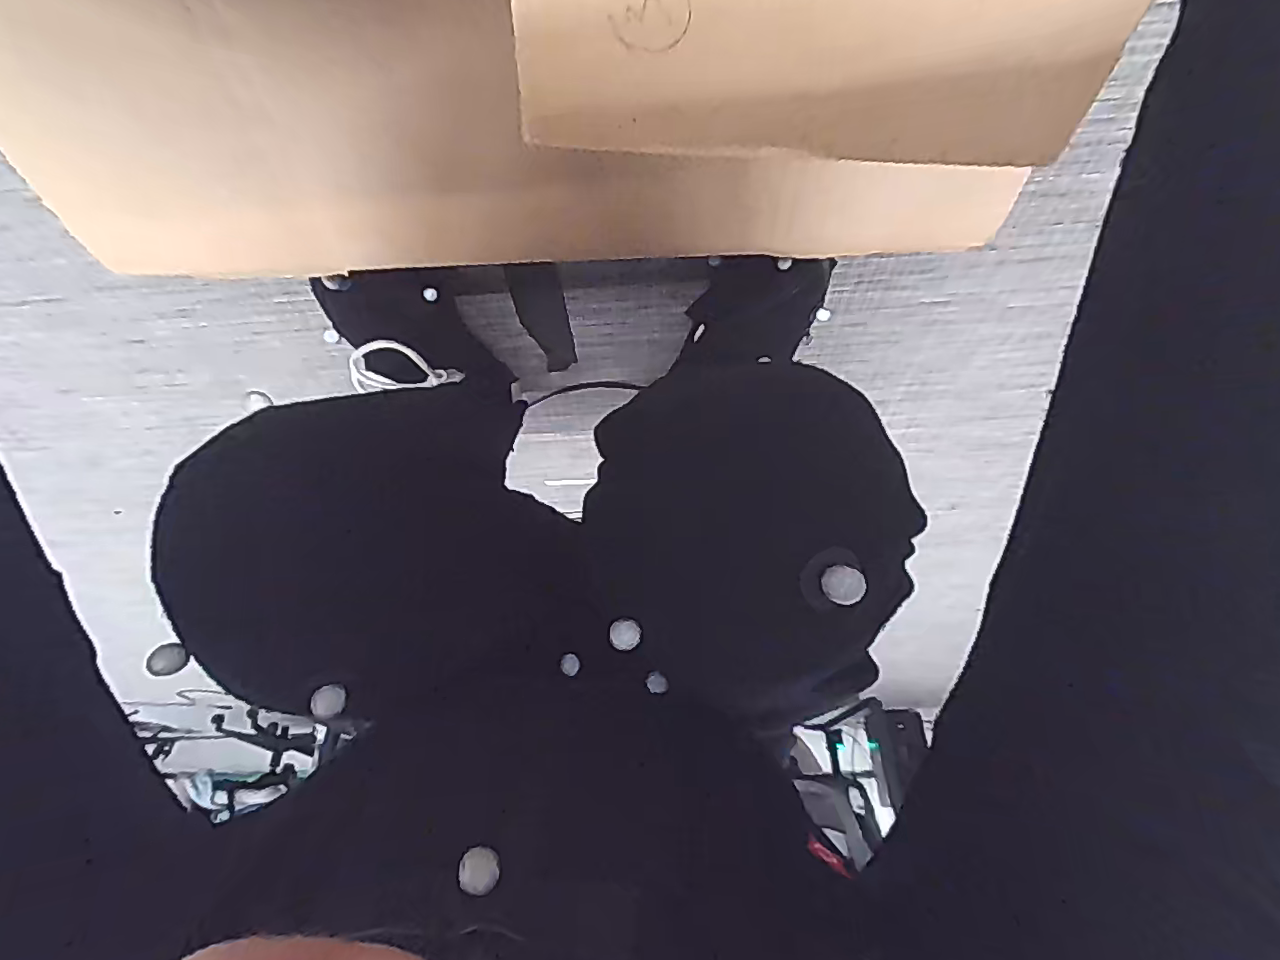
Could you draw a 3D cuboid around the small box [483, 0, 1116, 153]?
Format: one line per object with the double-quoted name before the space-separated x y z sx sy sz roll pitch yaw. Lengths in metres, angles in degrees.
"small box" 0.046 -0.224 0.159 0.179 0.176 0.168 1 143 -4
